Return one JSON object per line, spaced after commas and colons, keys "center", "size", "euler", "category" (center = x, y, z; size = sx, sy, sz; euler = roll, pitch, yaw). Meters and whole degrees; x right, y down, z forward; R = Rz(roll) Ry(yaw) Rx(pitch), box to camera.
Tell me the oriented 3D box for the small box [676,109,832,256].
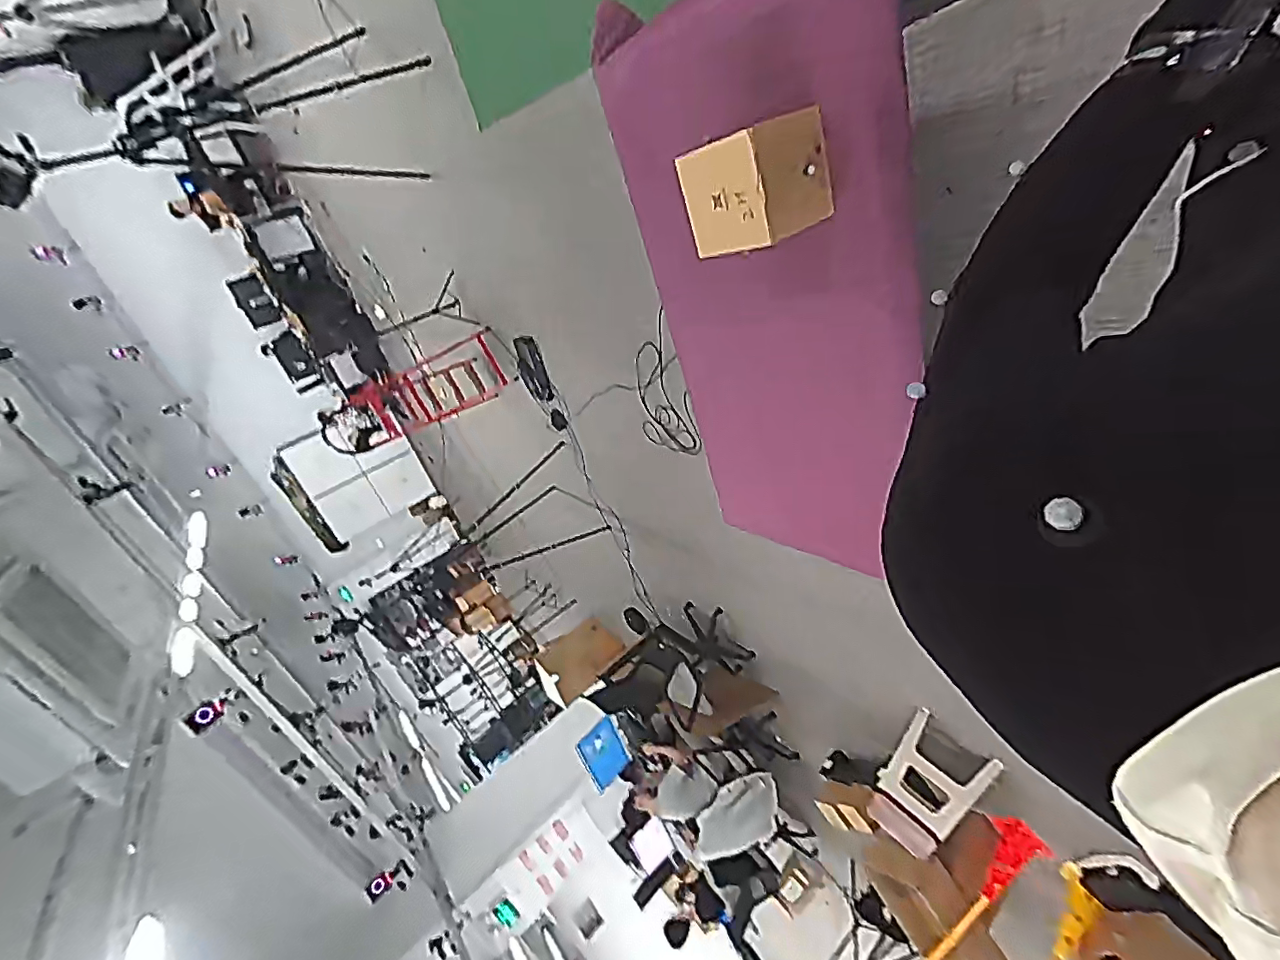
{"center": [0.196, -0.500, 0.921], "size": [0.179, 0.176, 0.168], "euler": [19, 137, 52], "category": "small box"}
